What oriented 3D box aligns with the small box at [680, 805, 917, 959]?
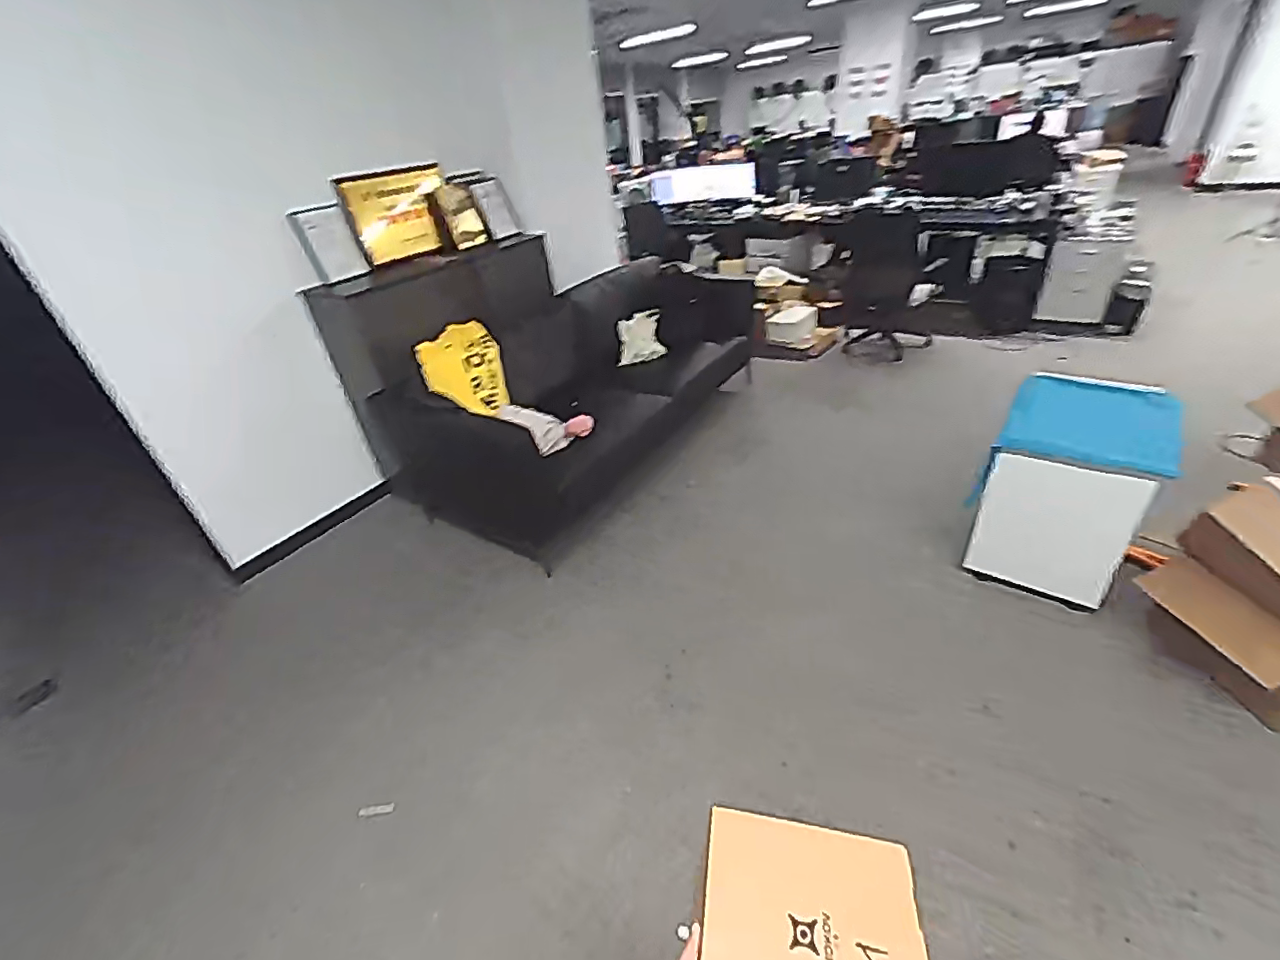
[{"bbox_3d":[0.124,0.419,0.468,0.179,0.176,0.168,8,37,8],"label":"small box"}]
